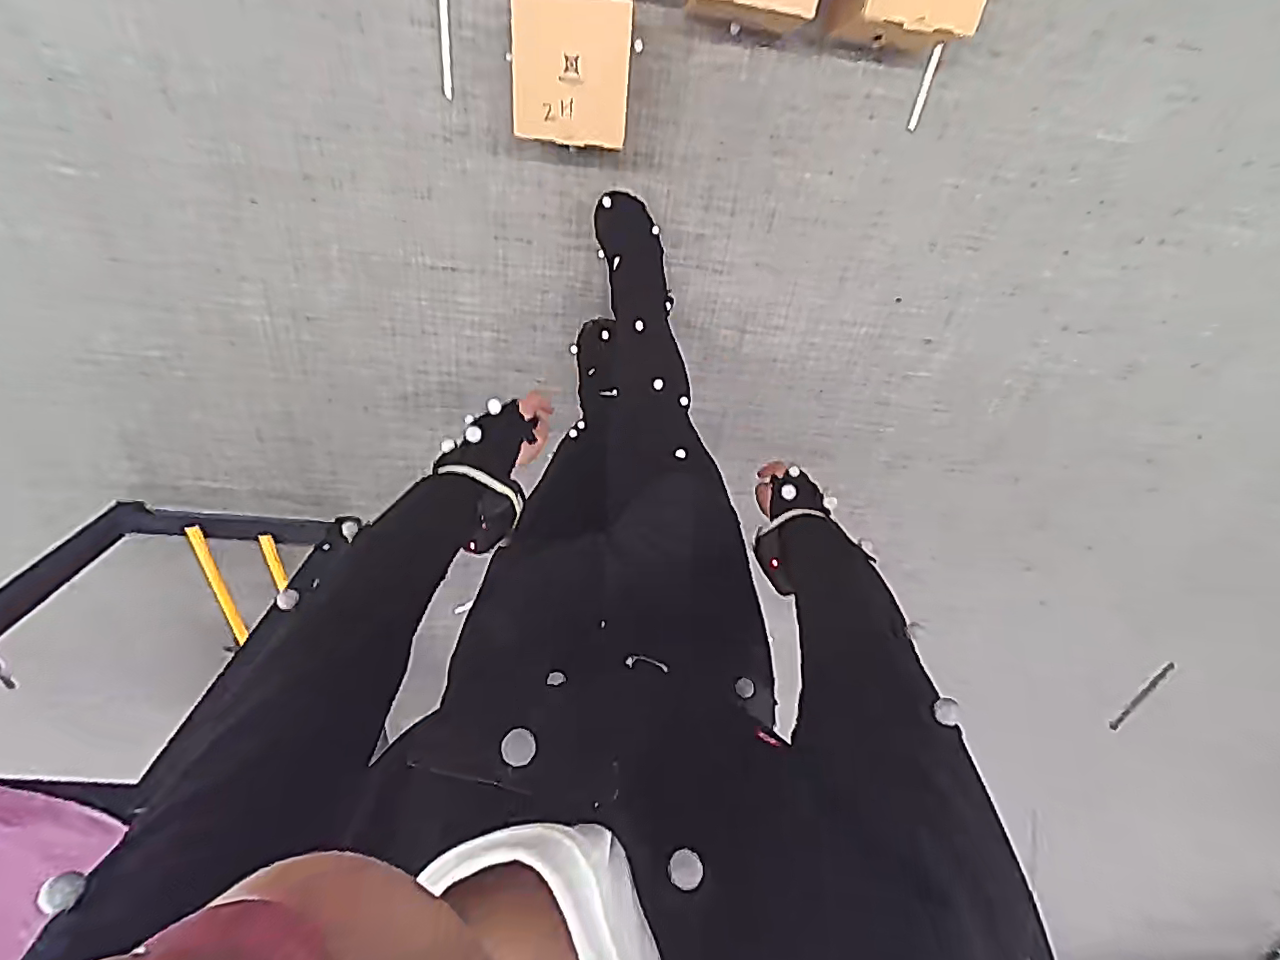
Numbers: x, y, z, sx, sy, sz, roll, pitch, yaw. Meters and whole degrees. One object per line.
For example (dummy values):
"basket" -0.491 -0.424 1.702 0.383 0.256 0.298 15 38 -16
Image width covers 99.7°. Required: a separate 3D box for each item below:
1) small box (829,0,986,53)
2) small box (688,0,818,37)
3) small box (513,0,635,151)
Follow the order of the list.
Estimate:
"small box" 0.393 -0.741 0.772 0.168 0.176 0.179 5 123 -6
"small box" 0.167 -0.752 0.752 0.168 0.176 0.179 7 123 -6
"small box" -0.100 -0.616 0.827 0.168 0.176 0.179 4 123 -4
